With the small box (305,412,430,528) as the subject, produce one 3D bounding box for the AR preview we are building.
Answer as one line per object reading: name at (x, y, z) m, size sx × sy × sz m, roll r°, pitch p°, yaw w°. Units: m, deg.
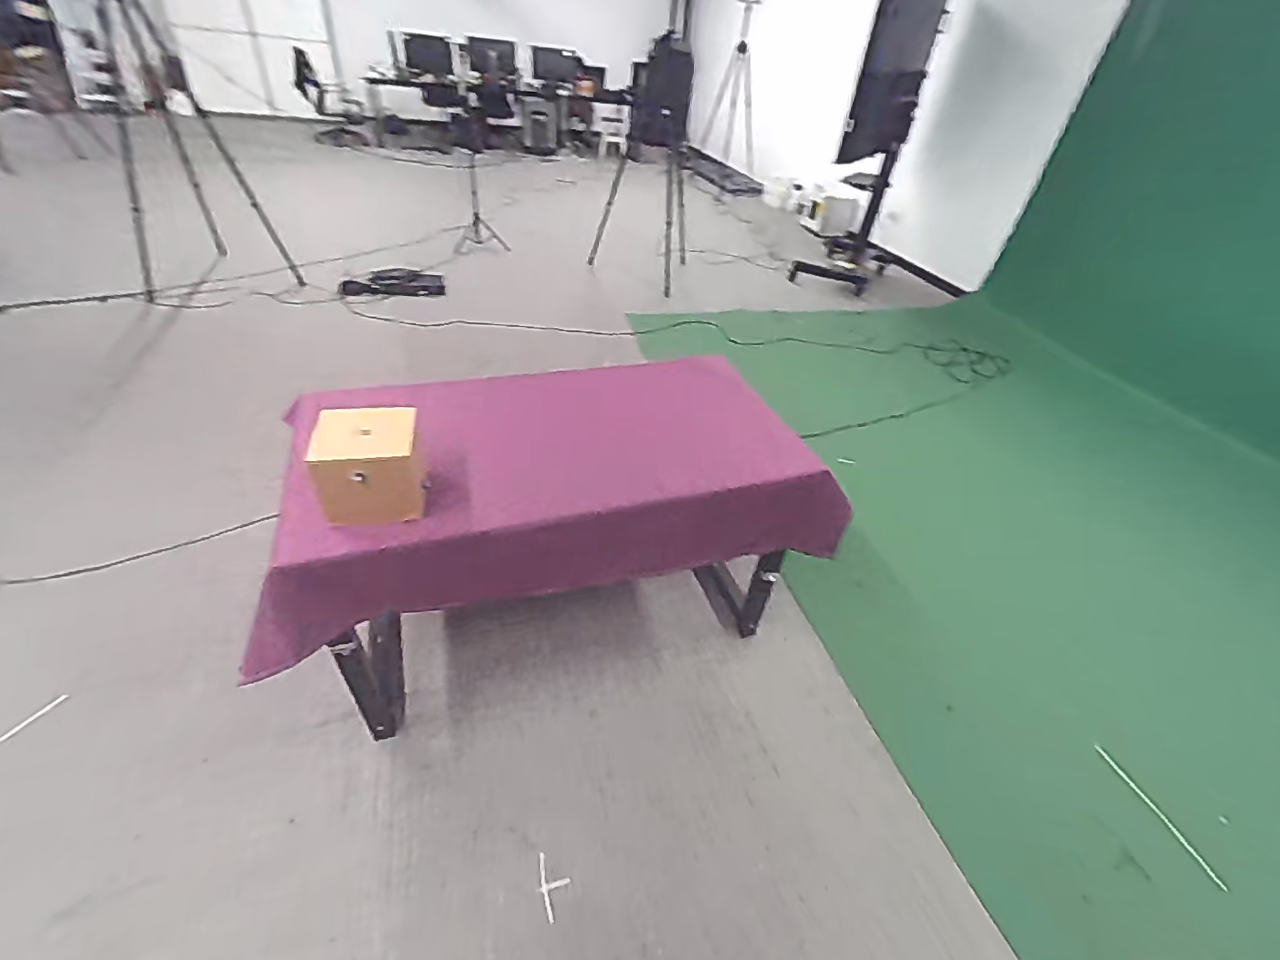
small box at (-0.528, -0.019, 1.074) m, size 0.179 × 0.176 × 0.168 m, roll -3°, pitch 41°, yaw -13°
